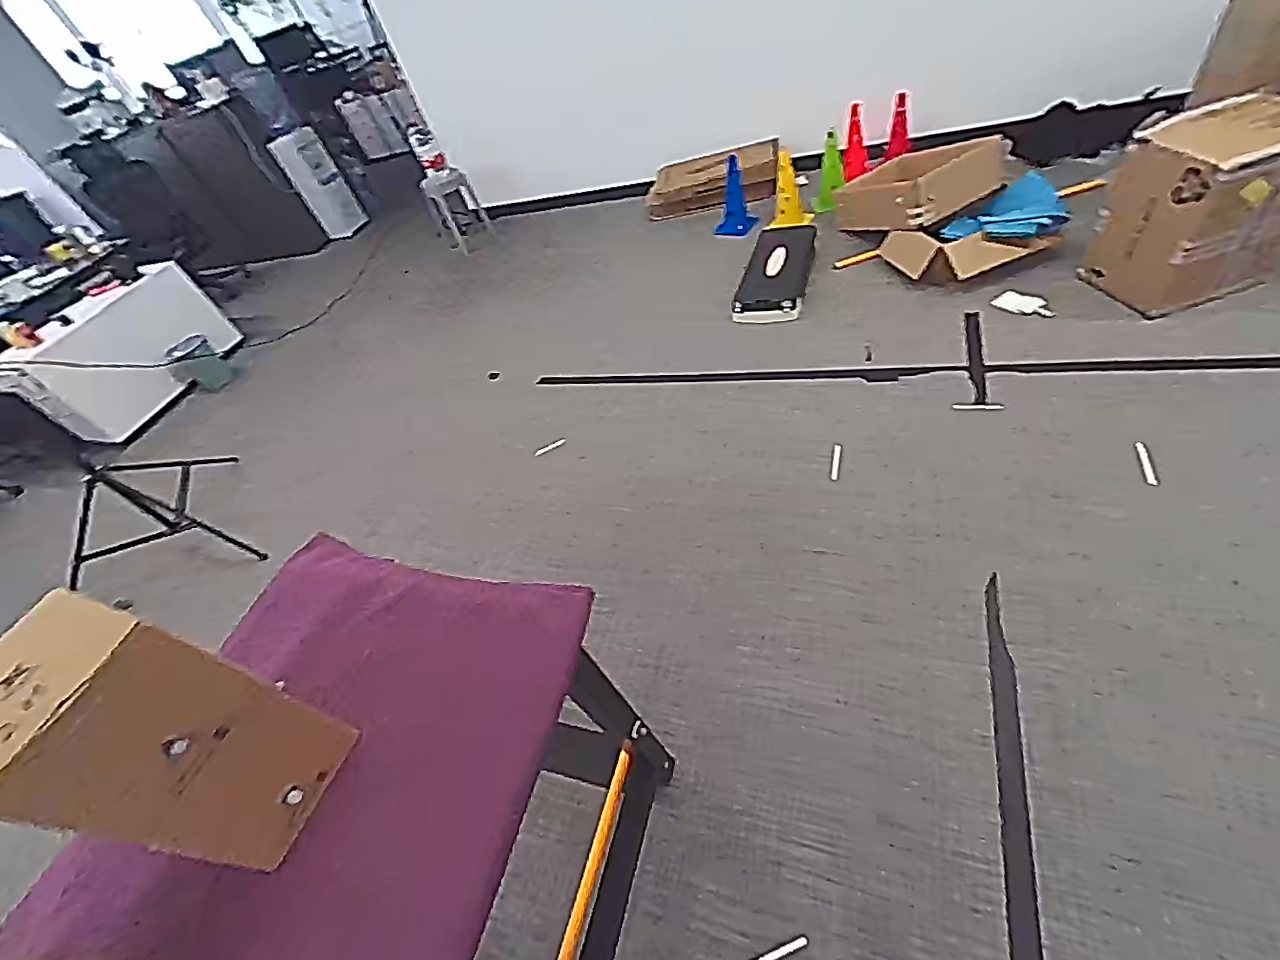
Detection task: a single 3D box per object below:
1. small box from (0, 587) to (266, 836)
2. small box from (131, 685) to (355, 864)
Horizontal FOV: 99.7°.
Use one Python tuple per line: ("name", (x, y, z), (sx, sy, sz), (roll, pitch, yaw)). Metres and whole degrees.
("small box", (-0.546, 0.234, 0.550), (0.179, 0.176, 0.168), (7, 53, 24))
("small box", (-0.506, 0.344, 0.666), (0.179, 0.176, 0.168), (7, 52, 24))
